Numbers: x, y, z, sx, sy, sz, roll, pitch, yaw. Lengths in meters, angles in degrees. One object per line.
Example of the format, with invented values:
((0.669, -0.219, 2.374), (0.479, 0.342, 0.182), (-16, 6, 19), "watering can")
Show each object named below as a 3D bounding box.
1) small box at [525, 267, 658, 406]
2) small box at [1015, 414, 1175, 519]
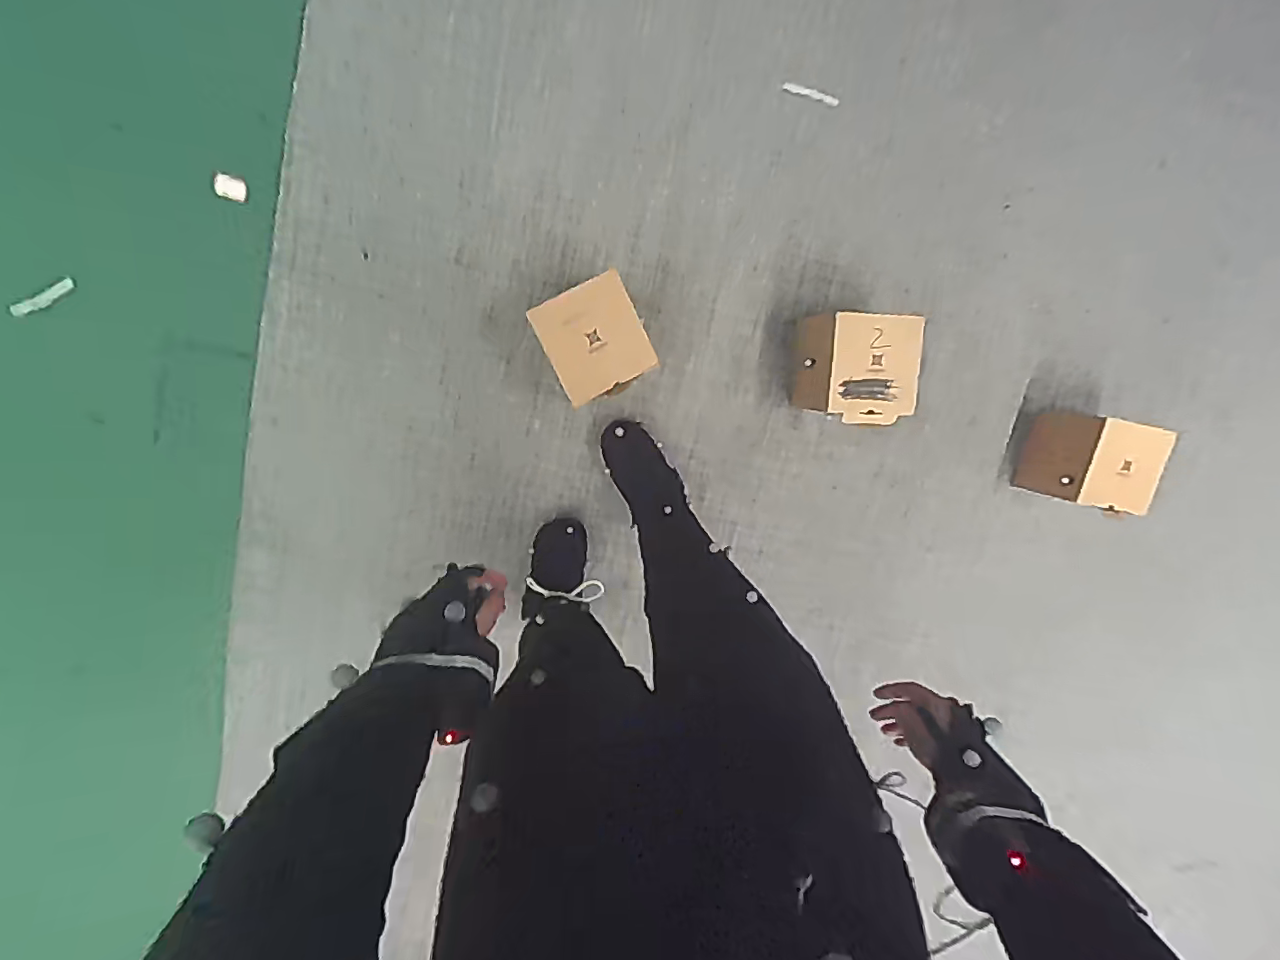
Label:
((-0.085, -0.248, 0.959), (0.168, 0.176, 0.179), (-27, 103, -2), "small box")
((0.933, -0.035, 1.126), (0.168, 0.176, 0.179), (10, 101, -9), "small box")
